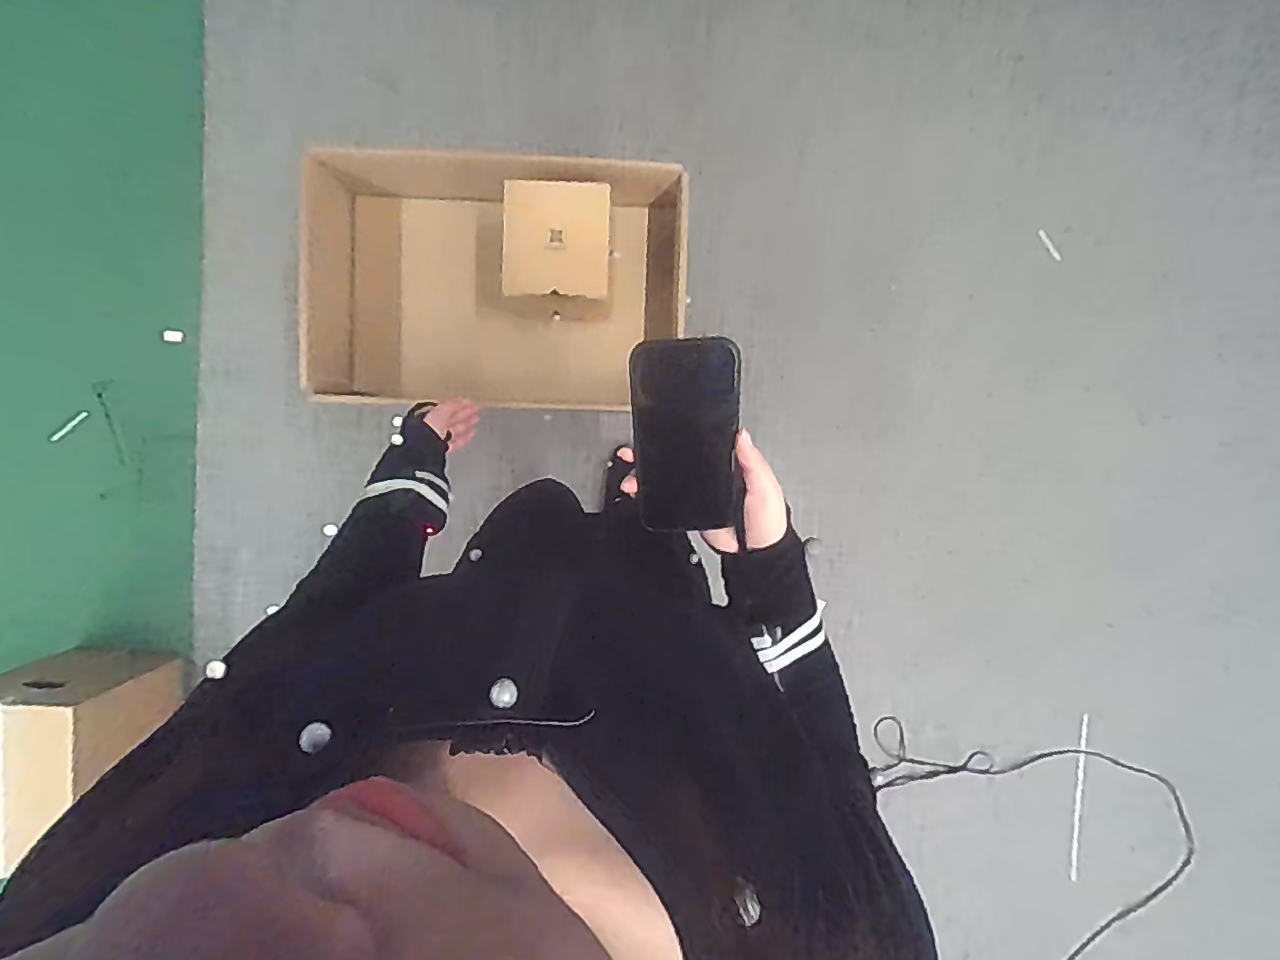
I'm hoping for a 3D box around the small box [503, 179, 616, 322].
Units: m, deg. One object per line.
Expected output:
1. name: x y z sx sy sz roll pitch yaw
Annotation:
1. small box: -0.129 -0.378 0.914 0.168 0.176 0.179 2 94 0
